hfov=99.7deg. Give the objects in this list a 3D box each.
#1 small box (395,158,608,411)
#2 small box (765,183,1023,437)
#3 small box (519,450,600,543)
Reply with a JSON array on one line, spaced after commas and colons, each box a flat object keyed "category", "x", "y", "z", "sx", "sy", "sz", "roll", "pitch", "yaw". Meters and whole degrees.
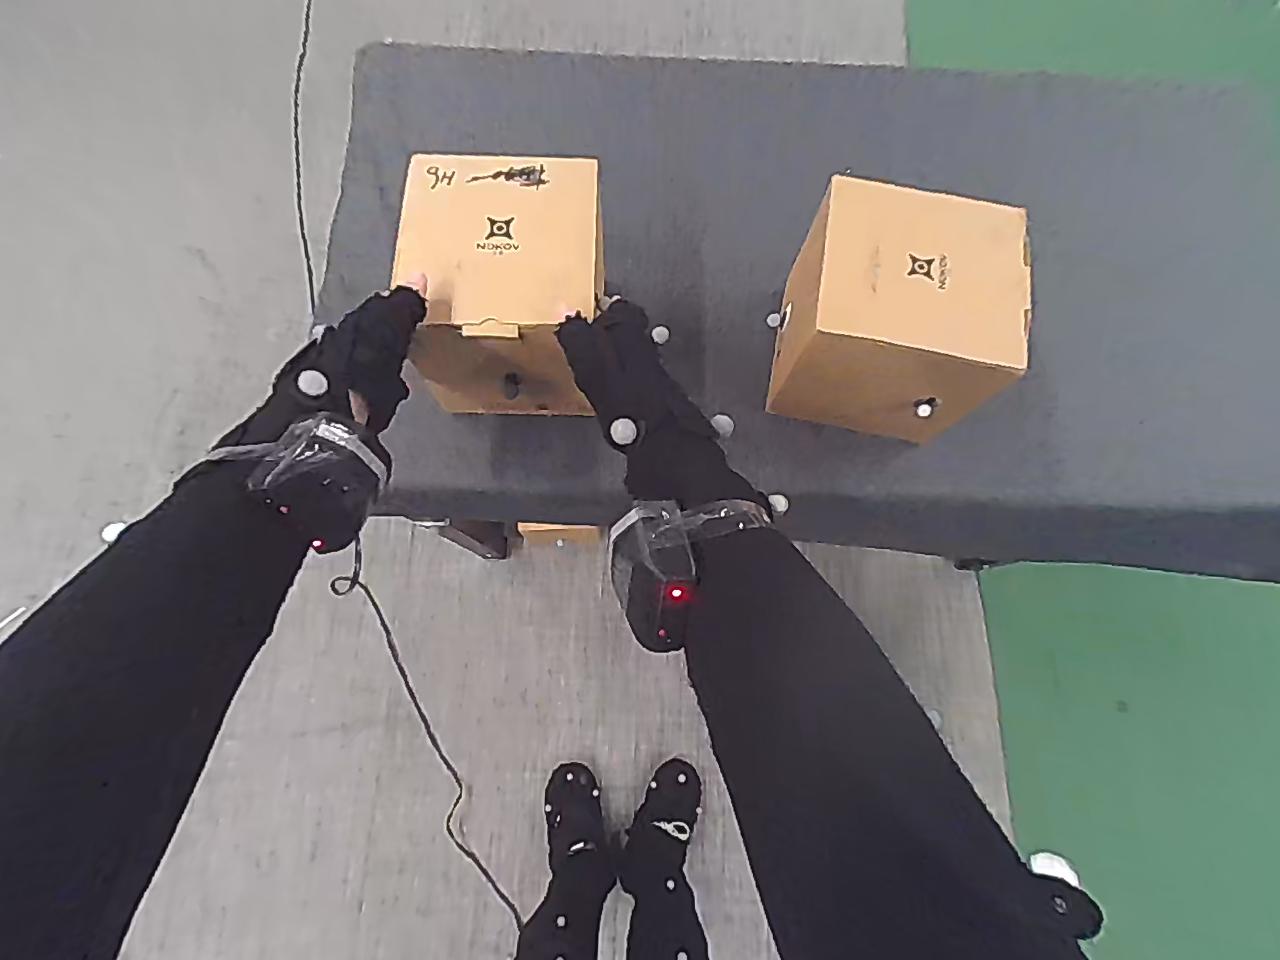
[{"category": "small box", "x": -0.117, "y": -0.178, "z": 0.533, "sx": 0.168, "sy": 0.176, "sz": 0.179, "roll": 1, "pitch": 73, "yaw": -3}, {"category": "small box", "x": 0.240, "y": -0.155, "z": 0.543, "sx": 0.179, "sy": 0.176, "sz": 0.168, "roll": 10, "pitch": 72, "yaw": 2}, {"category": "small box", "x": -0.178, "y": 0.042, "z": 1.228, "sx": 0.168, "sy": 0.176, "sz": 0.179, "roll": -2, "pitch": 75, "yaw": -2}]
